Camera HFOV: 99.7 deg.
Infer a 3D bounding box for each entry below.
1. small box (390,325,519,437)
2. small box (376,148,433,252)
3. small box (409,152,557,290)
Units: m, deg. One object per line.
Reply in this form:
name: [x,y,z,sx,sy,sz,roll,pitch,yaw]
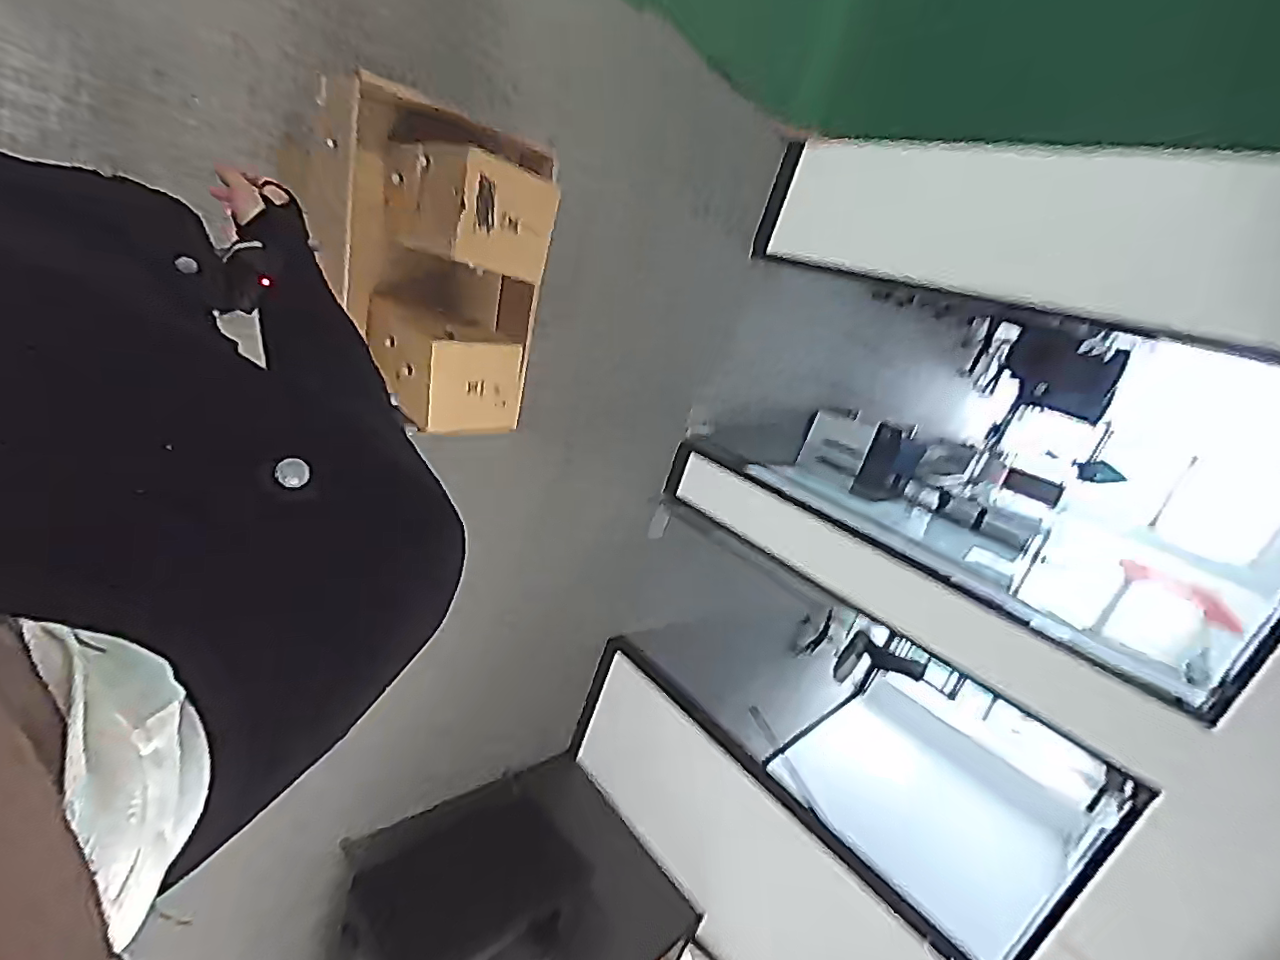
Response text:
small box: [-0.358,-0.190,1.028,0.179,0.176,0.168,-9,122,-44]
small box: [-0.389,-0.518,1.042,0.179,0.176,0.168,-8,119,-46]
small box: [-0.278,-0.449,0.943,0.179,0.176,0.168,-2,116,-49]
